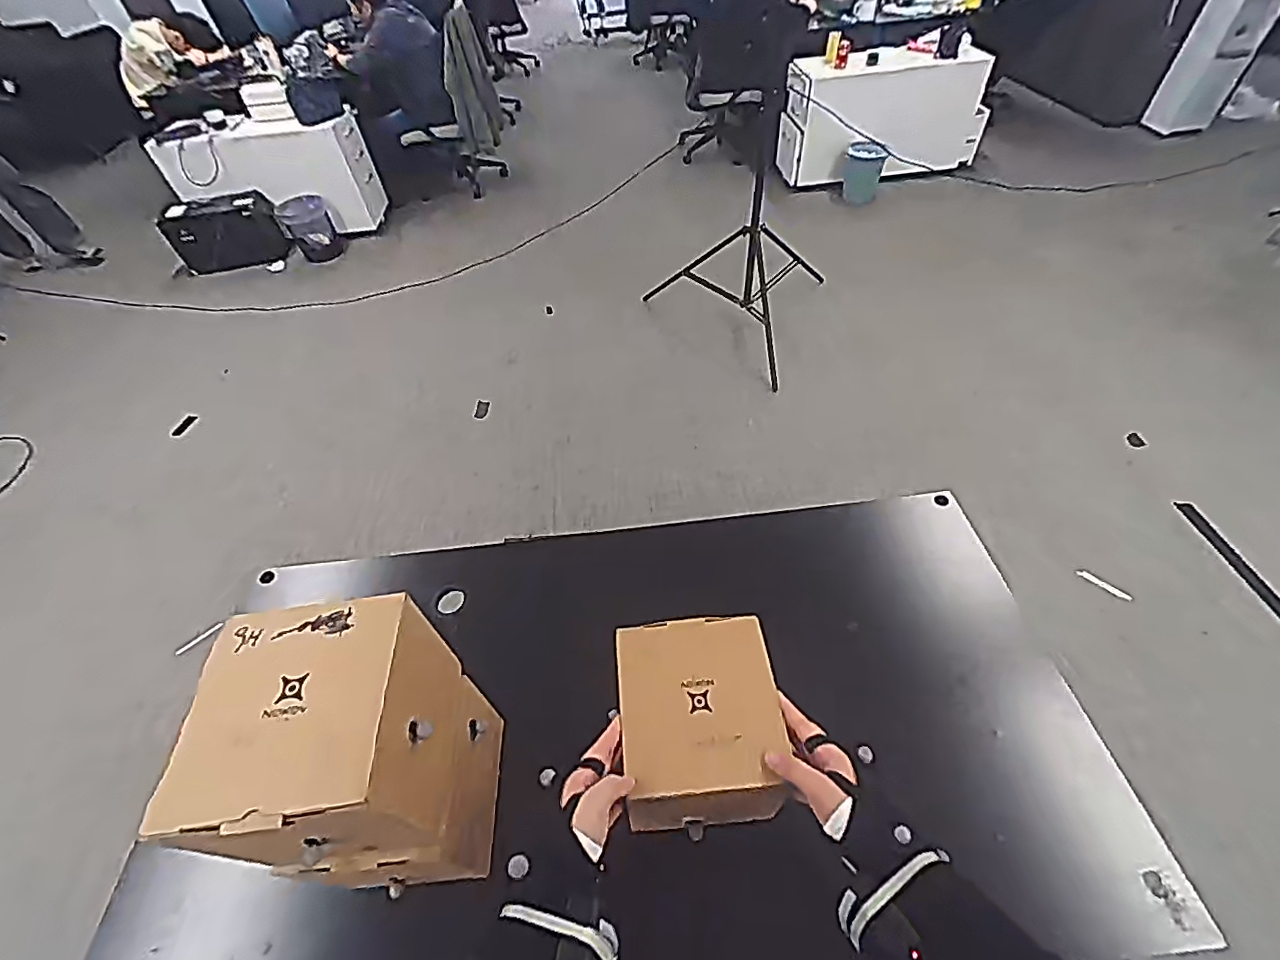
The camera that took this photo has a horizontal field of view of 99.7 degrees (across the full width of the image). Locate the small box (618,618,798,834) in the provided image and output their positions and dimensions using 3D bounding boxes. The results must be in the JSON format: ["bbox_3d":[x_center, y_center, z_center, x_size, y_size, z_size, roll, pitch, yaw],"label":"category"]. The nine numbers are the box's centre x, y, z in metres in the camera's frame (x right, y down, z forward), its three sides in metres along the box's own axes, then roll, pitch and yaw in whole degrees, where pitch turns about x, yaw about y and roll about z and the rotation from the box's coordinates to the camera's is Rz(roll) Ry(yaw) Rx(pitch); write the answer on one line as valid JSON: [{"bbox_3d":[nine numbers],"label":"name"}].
[{"bbox_3d":[0.064,0.283,0.622,0.168,0.176,0.179,-6,48,-2],"label":"small box"}]

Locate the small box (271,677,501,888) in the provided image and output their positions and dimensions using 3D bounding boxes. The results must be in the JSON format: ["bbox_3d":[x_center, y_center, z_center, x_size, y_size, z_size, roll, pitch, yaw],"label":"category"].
[{"bbox_3d":[-0.265,0.347,0.619,0.168,0.176,0.179,-5,49,0],"label":"small box"}]

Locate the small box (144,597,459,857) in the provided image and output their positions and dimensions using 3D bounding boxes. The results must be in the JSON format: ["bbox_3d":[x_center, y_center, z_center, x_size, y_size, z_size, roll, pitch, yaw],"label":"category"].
[{"bbox_3d":[-0.279,0.234,0.501,0.168,0.176,0.179,-7,50,-2],"label":"small box"}]
